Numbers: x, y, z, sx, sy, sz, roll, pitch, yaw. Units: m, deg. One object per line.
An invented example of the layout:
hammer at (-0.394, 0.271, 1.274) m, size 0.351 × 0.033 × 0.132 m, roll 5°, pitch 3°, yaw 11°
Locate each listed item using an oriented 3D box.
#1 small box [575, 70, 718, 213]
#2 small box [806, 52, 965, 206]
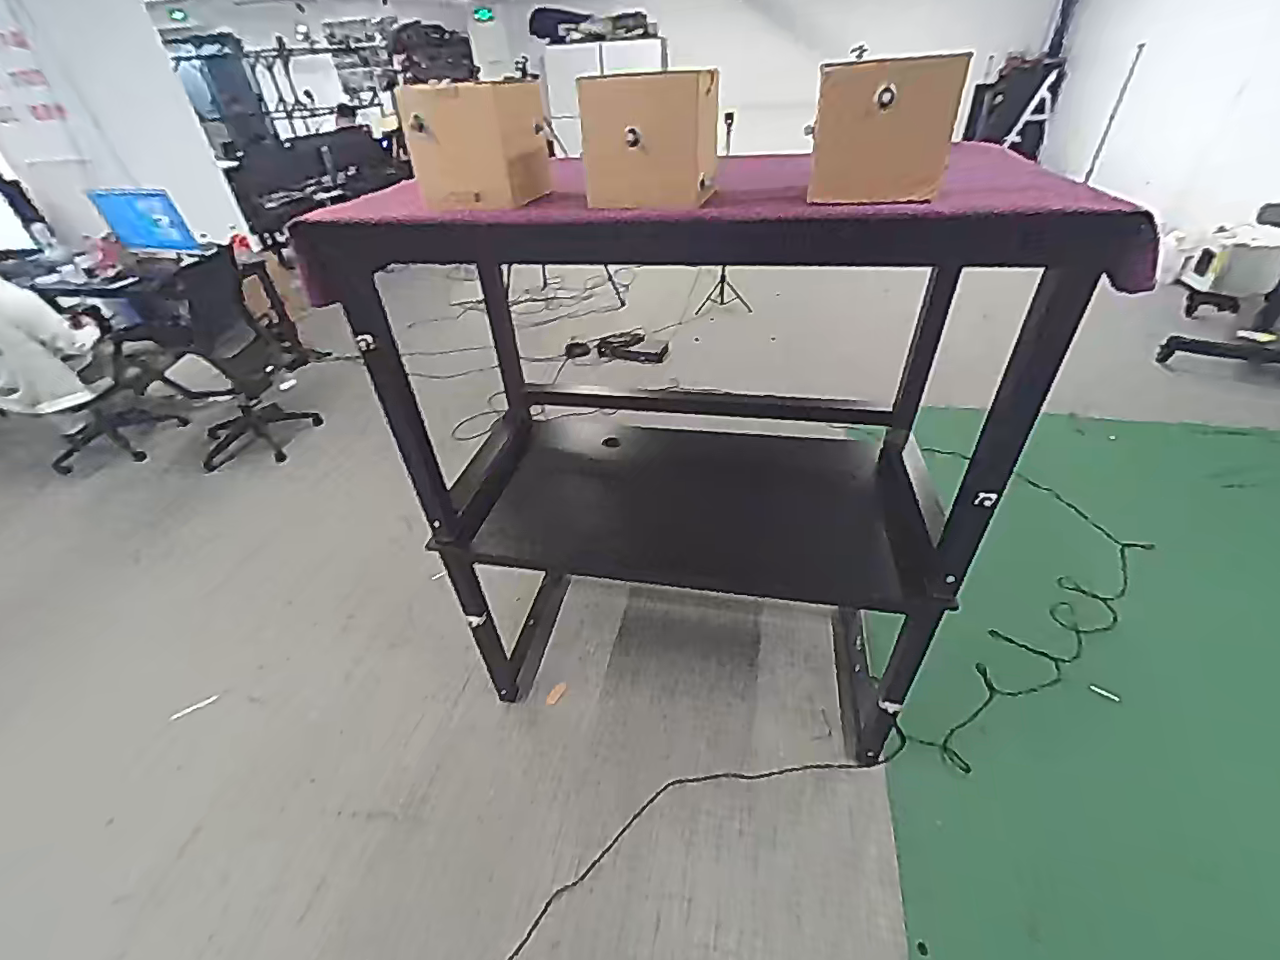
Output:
small box at (0.020, -0.522, 0.838) m, size 0.179 × 0.176 × 0.168 m, roll 7°, pitch 38°, yaw 16°
small box at (0.340, -0.504, 0.784) m, size 0.179 × 0.176 × 0.168 m, roll 7°, pitch 39°, yaw 14°
